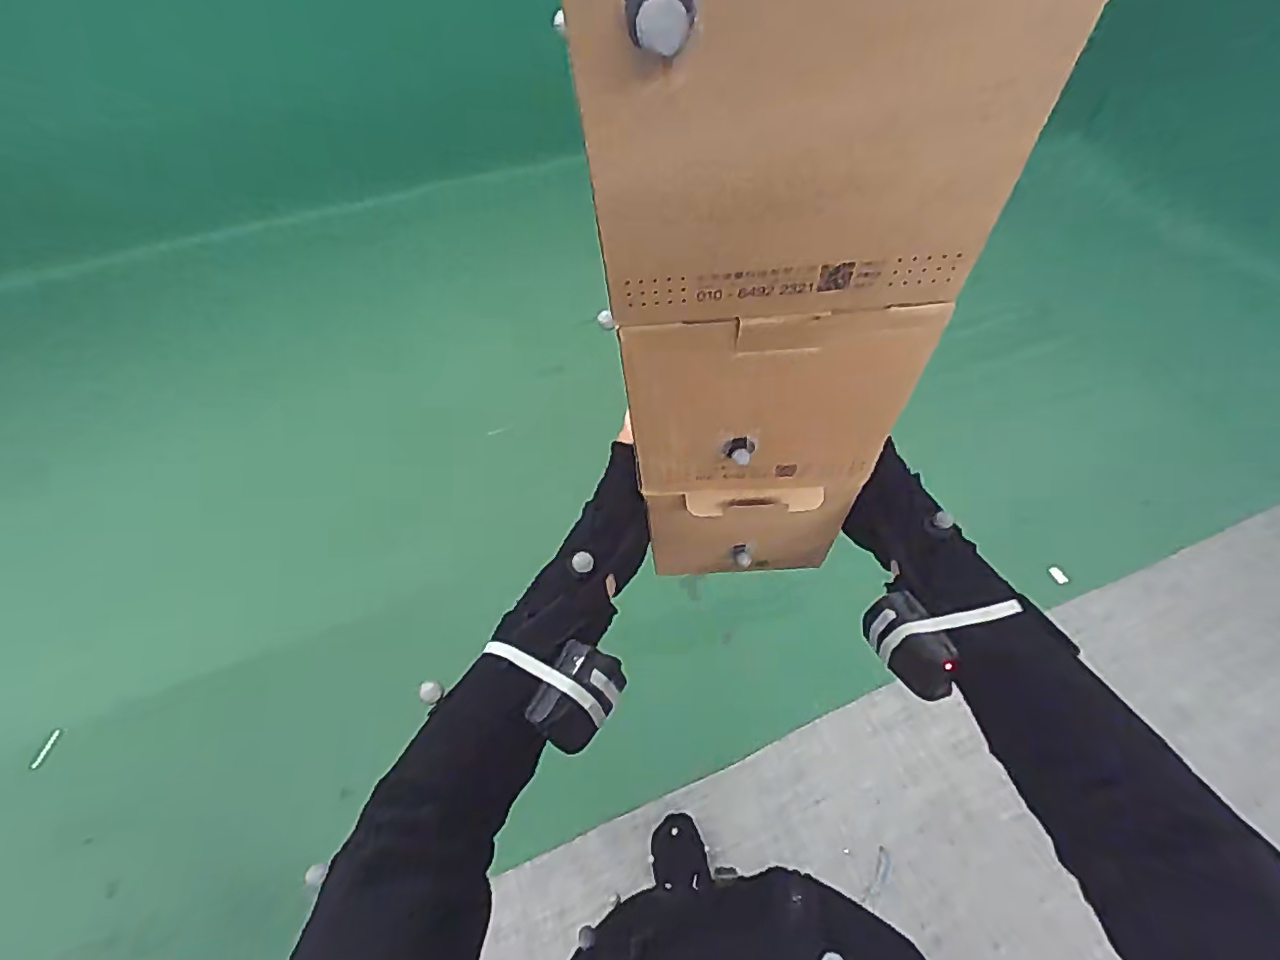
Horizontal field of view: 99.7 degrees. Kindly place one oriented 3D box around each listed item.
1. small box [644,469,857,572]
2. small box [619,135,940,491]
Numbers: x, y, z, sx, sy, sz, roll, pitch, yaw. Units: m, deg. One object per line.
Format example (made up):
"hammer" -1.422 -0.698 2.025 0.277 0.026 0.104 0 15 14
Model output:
"small box" 0.089 -0.025 0.526 0.168 0.176 0.179 -3 58 4
"small box" 0.075 -0.110 0.387 0.168 0.176 0.179 -4 58 3
